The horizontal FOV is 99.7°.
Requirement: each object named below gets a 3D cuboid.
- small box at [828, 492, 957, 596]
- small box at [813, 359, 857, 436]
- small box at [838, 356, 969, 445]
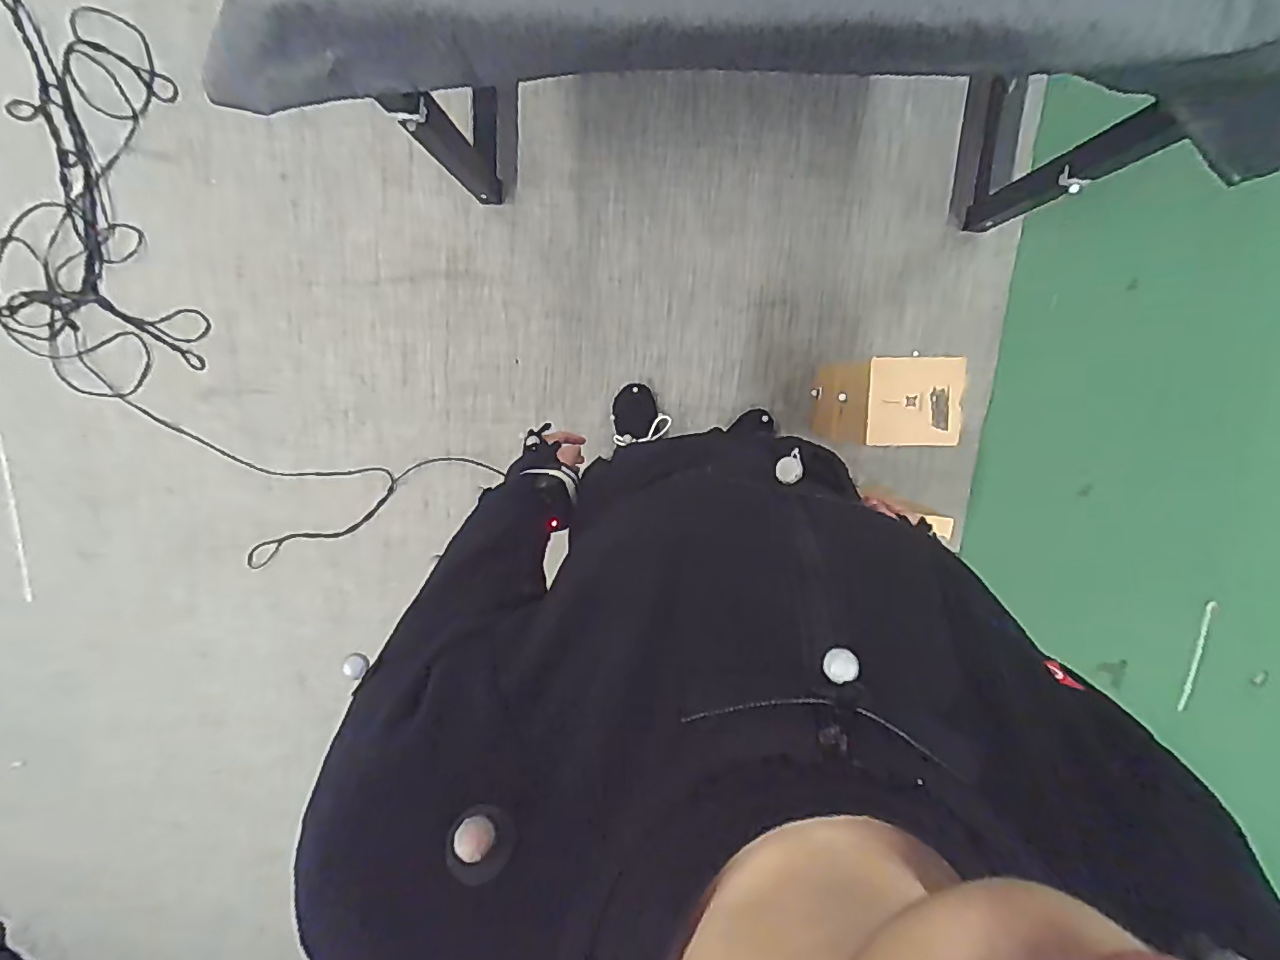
[{"bbox_3d":[0.517,0.126,1.129,0.179,0.176,0.168,6,101,1],"label":"small box"},{"bbox_3d":[0.512,-0.189,1.237,0.179,0.176,0.168,1,100,2],"label":"small box"},{"bbox_3d":[0.513,-0.160,1.076,0.179,0.176,0.168,0,100,3],"label":"small box"}]
